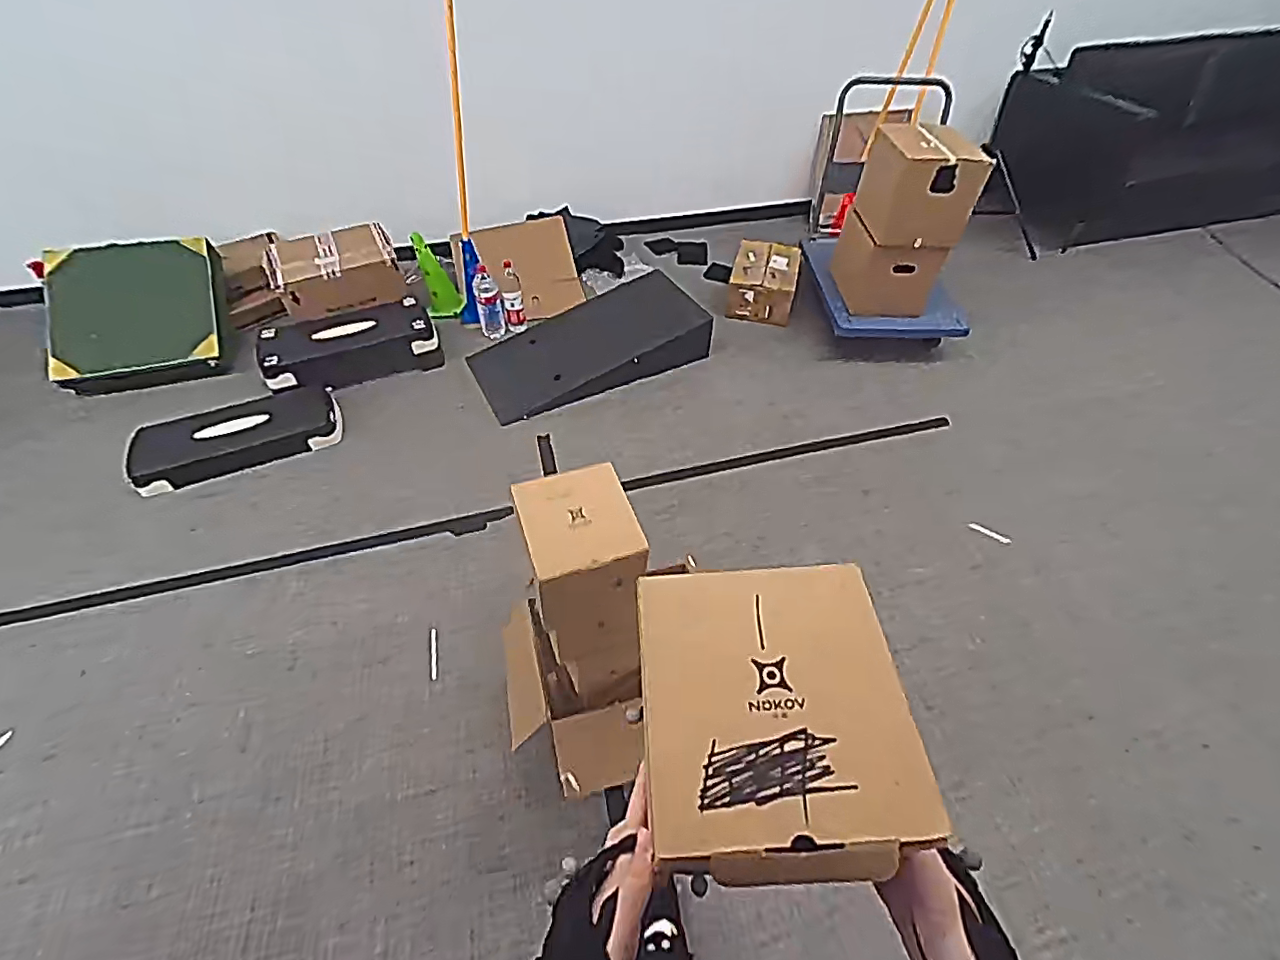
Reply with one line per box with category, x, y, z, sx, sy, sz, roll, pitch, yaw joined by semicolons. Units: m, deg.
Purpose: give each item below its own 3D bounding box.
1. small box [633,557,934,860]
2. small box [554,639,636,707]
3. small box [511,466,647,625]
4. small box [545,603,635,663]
small box;0.083;0.179;0.413;0.168;0.176;0.179;-3;51;0
small box;-0.096;0.395;1.261;0.179;0.176;0.168;-27;58;-26
small box;-0.098;0.110;0.857;0.168;0.176;0.179;-14;53;-17
small box;-0.094;0.209;0.988;0.179;0.176;0.168;-15;55;-17
